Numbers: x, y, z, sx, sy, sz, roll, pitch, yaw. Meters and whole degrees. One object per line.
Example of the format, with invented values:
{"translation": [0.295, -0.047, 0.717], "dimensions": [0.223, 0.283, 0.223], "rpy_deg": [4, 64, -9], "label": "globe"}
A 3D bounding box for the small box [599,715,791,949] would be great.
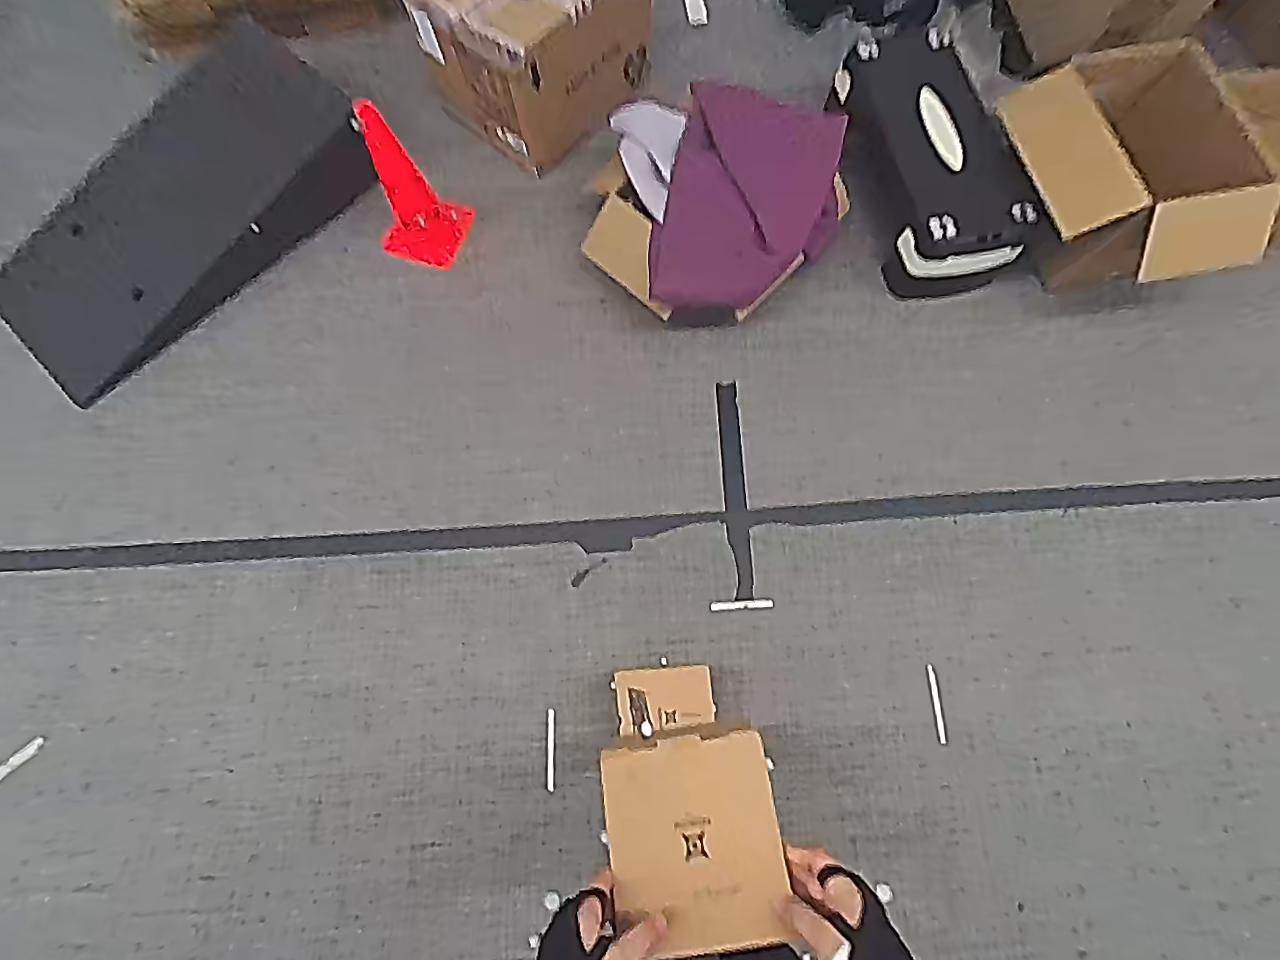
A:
{"translation": [0.053, 0.368, 0.603], "dimensions": [0.168, 0.176, 0.179], "rpy_deg": [-10, 71, 1], "label": "small box"}

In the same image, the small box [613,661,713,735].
{"translation": [0.044, 0.443, 1.040], "dimensions": [0.179, 0.176, 0.168], "rpy_deg": [-4, 74, -2], "label": "small box"}
